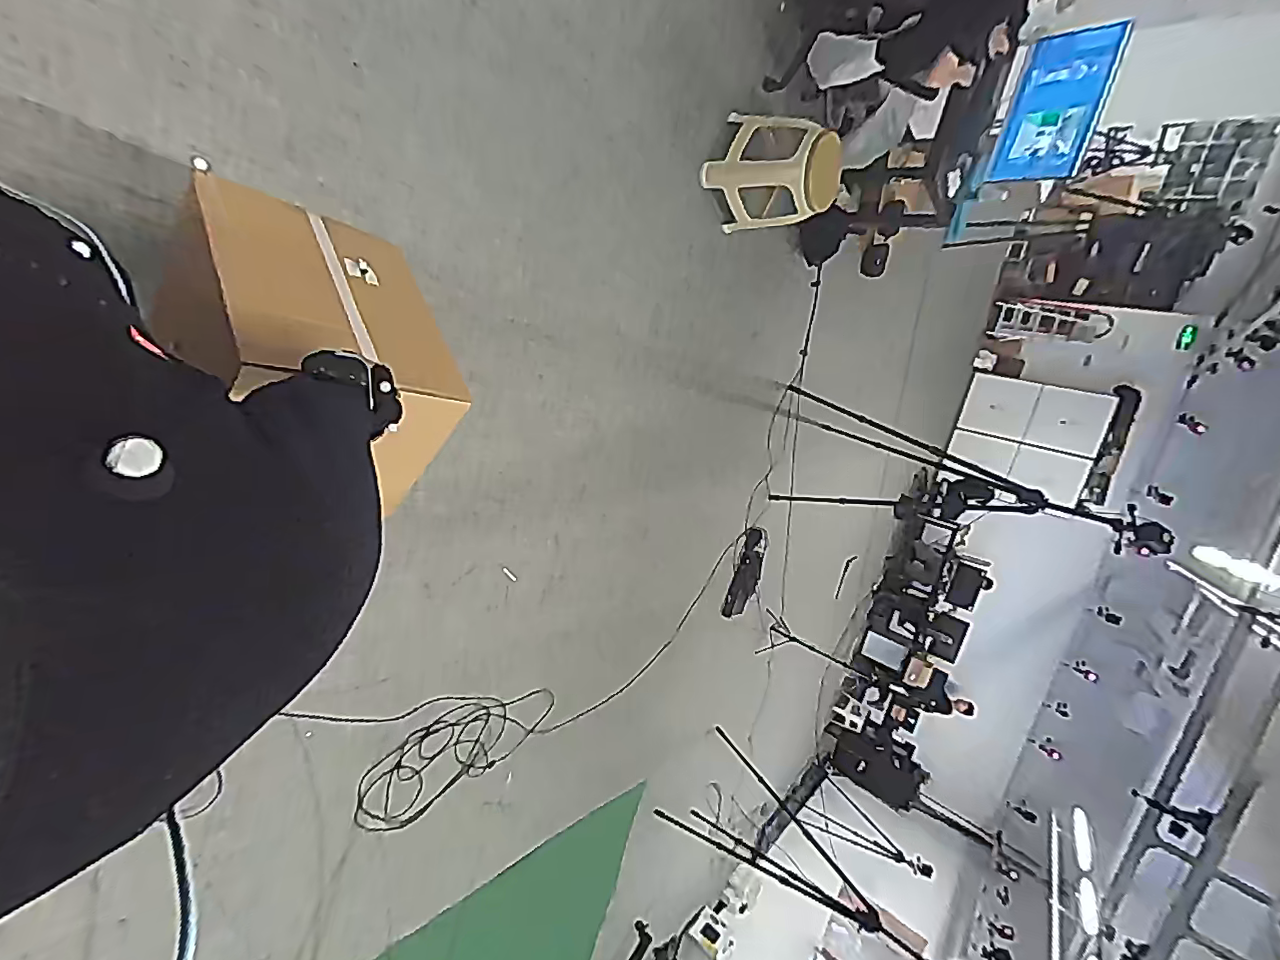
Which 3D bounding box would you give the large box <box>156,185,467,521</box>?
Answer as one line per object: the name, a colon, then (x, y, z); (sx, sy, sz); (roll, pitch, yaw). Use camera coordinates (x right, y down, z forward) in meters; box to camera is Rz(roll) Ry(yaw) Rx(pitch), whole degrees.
large box: (-0.559, -0.182, 0.902); (0.320, 0.408, 0.320); (-45, 153, 27)
